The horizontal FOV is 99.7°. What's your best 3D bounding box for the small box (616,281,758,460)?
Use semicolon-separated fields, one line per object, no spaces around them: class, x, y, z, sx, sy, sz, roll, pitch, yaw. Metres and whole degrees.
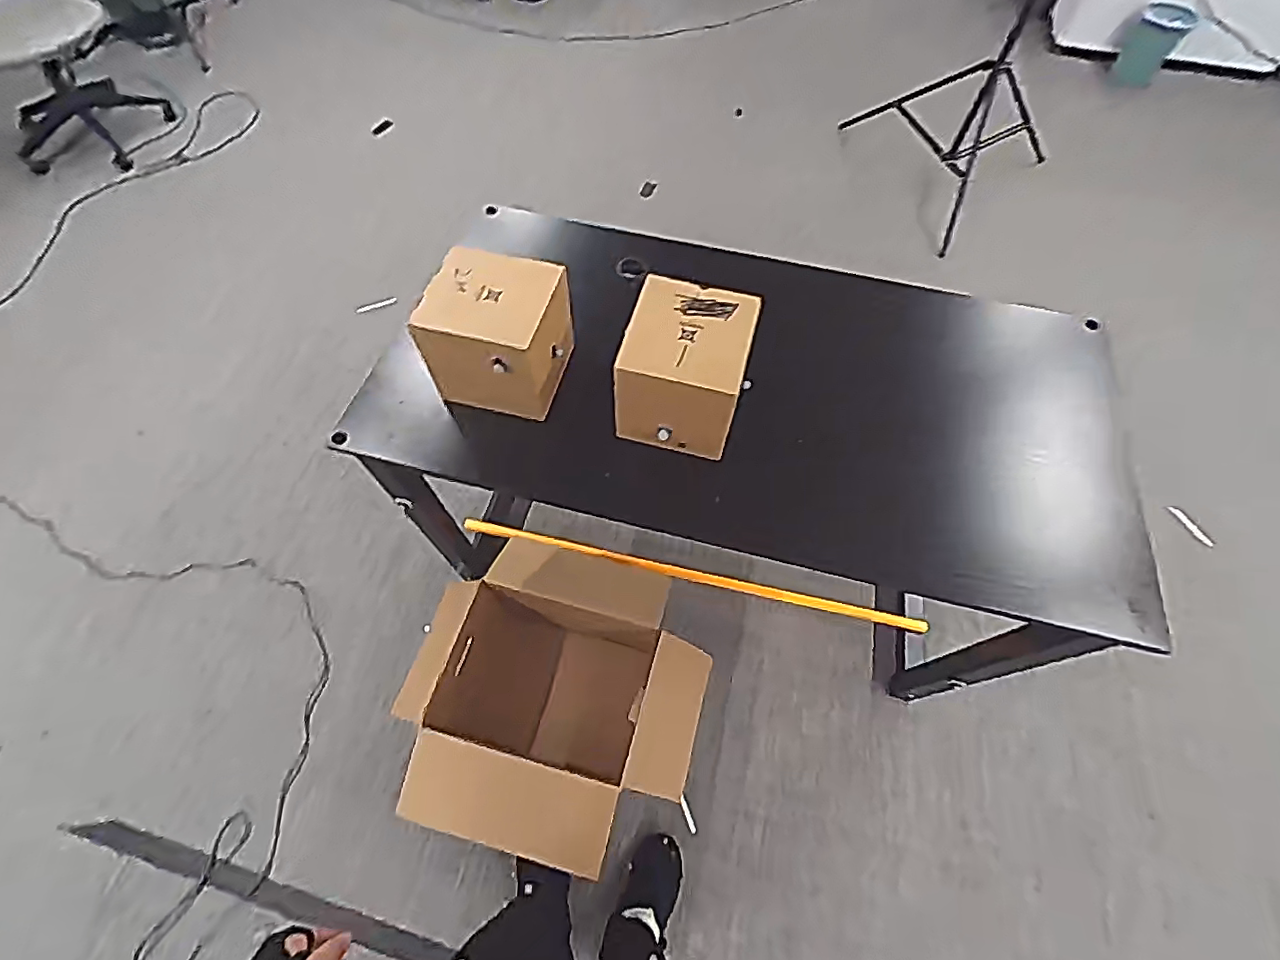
small box;0.065;-0.157;0.805;0.168;0.176;0.179;14;63;7

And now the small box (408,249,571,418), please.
small box;-0.213;-0.217;0.829;0.179;0.176;0.168;13;61;6
